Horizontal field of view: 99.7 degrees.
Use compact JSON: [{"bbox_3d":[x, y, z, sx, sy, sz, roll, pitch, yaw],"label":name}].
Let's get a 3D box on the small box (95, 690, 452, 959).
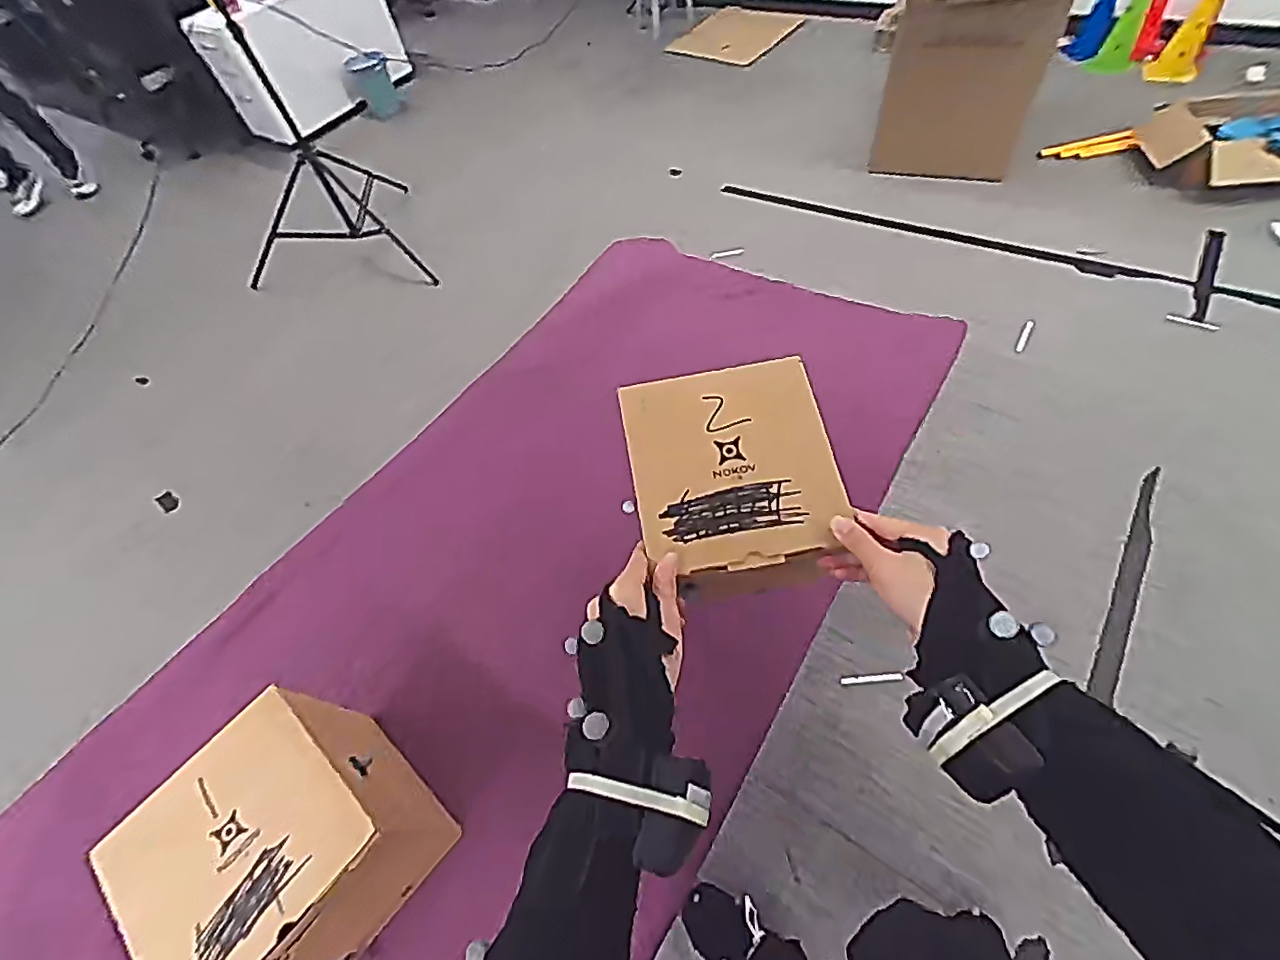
[{"bbox_3d":[-0.305,0.325,0.485,0.179,0.176,0.168,32,66,26],"label":"small box"}]
